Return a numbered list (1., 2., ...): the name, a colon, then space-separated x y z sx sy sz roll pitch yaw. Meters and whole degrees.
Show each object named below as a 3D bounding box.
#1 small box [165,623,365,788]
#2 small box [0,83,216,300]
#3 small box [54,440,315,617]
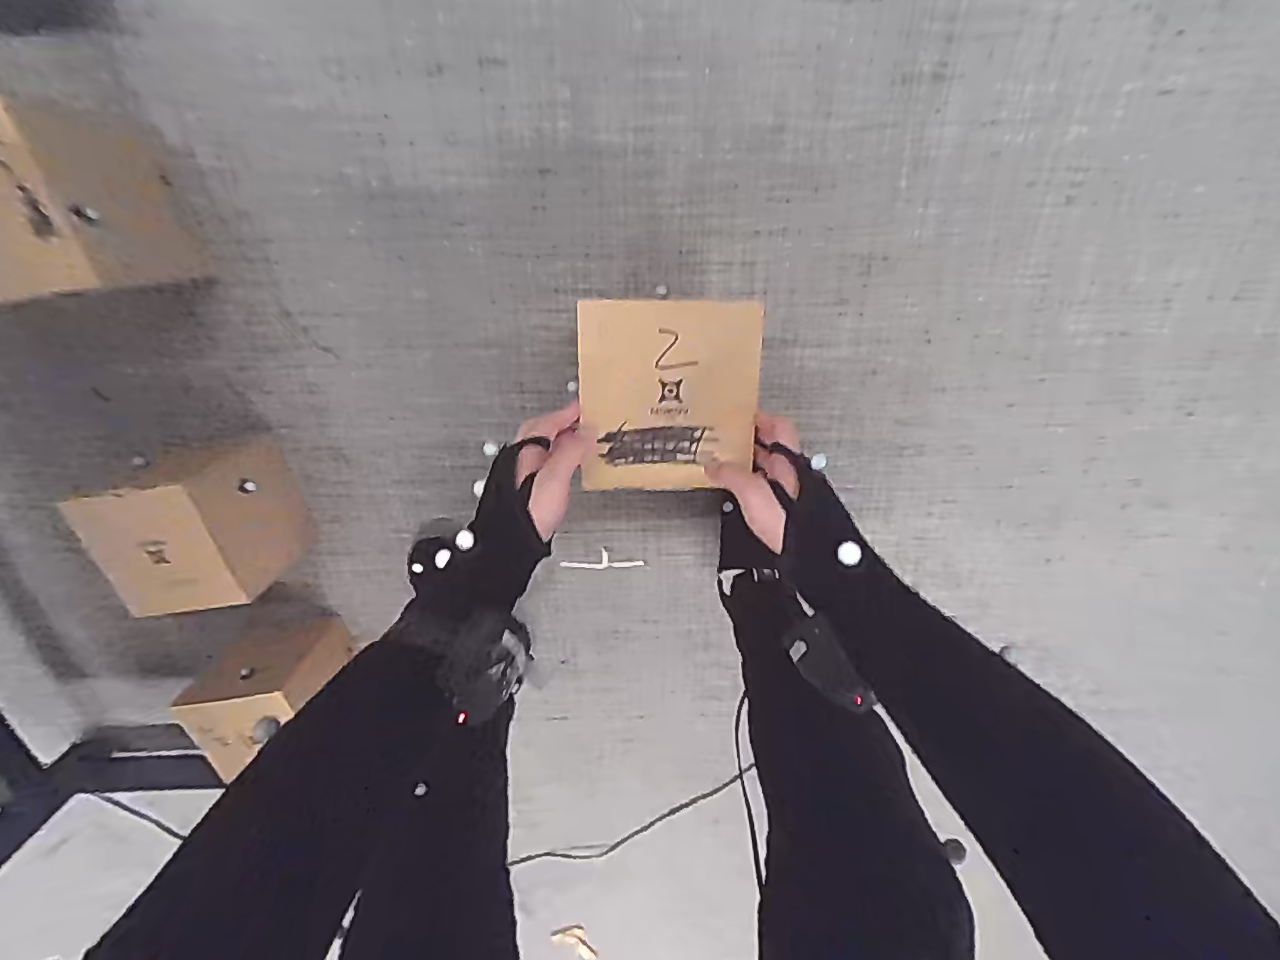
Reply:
1. small box: -0.564 0.345 0.849 0.179 0.176 0.168 -9 114 4
2. small box: -0.614 -0.286 0.569 0.179 0.176 0.168 -7 113 3
3. small box: -0.581 0.055 0.721 0.168 0.176 0.179 -7 114 4
